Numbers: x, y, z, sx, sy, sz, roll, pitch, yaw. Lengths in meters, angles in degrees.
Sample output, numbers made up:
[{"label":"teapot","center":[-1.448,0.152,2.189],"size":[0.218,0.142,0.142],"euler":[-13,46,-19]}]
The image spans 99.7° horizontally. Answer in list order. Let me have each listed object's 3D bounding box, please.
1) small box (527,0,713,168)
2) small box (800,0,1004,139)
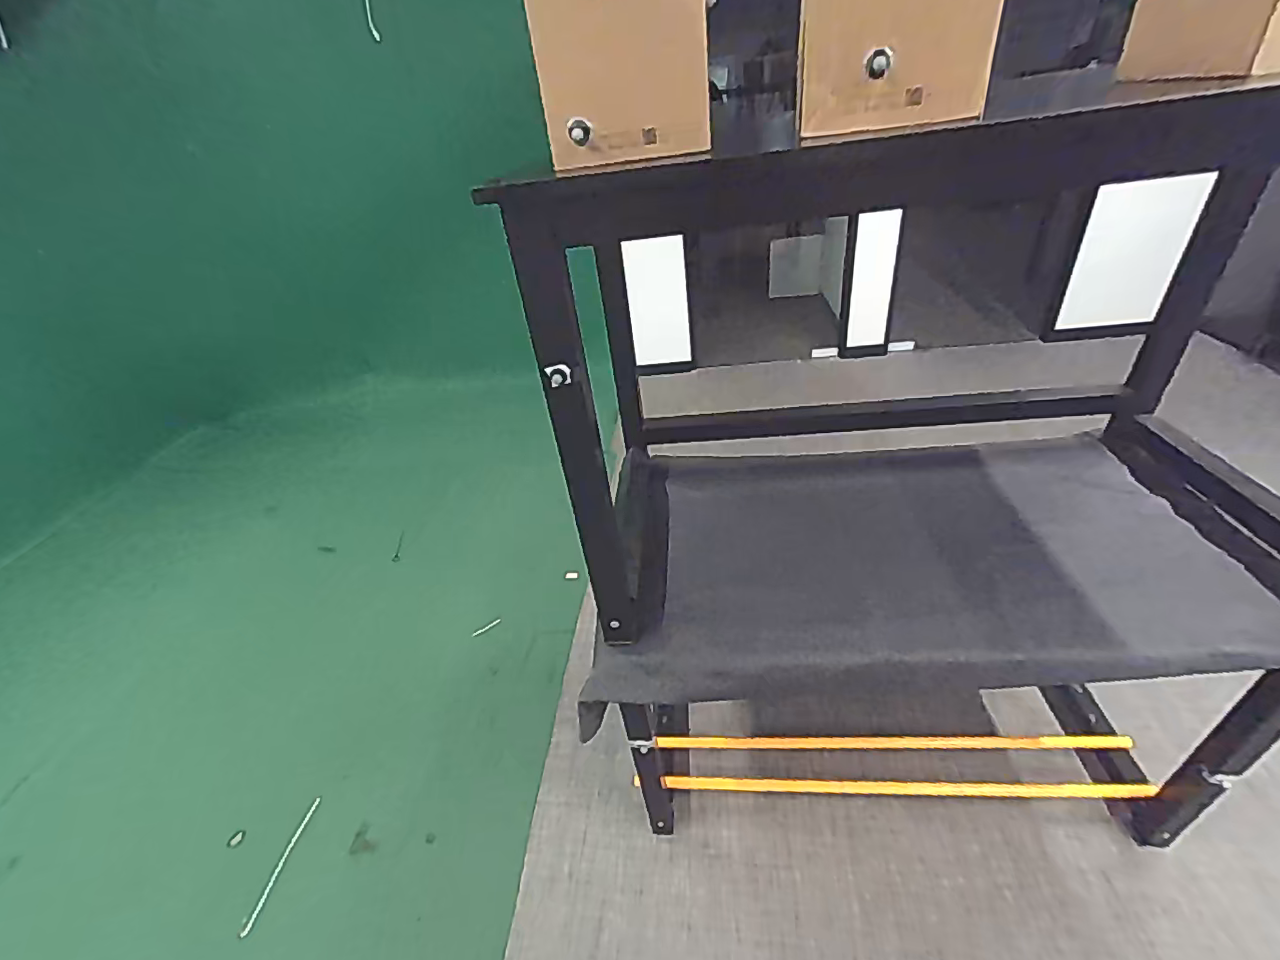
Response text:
[{"label":"small box","center":[-0.009,-0.445,0.585],"size":[0.168,0.176,0.179],"euler":[-3,34,7]},{"label":"small box","center":[0.254,-0.457,0.553],"size":[0.168,0.176,0.179],"euler":[2,36,14]}]
